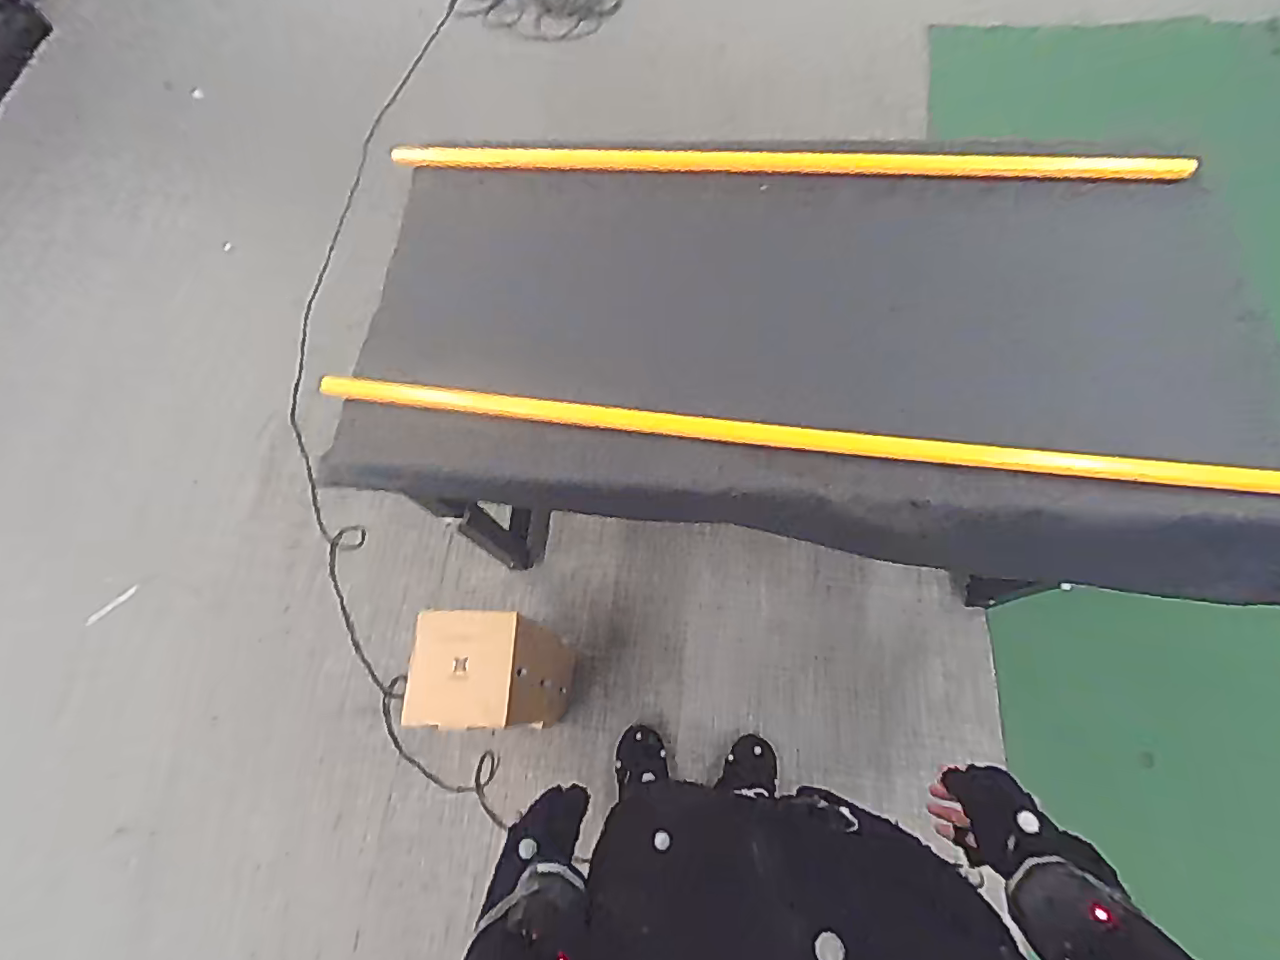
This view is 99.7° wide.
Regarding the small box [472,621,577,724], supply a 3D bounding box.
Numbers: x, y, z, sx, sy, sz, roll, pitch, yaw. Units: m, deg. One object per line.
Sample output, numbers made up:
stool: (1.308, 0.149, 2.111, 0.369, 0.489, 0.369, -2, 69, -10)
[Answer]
small box: (-0.249, 0.435, 1.225, 0.168, 0.176, 0.179, 12, 71, 9)
